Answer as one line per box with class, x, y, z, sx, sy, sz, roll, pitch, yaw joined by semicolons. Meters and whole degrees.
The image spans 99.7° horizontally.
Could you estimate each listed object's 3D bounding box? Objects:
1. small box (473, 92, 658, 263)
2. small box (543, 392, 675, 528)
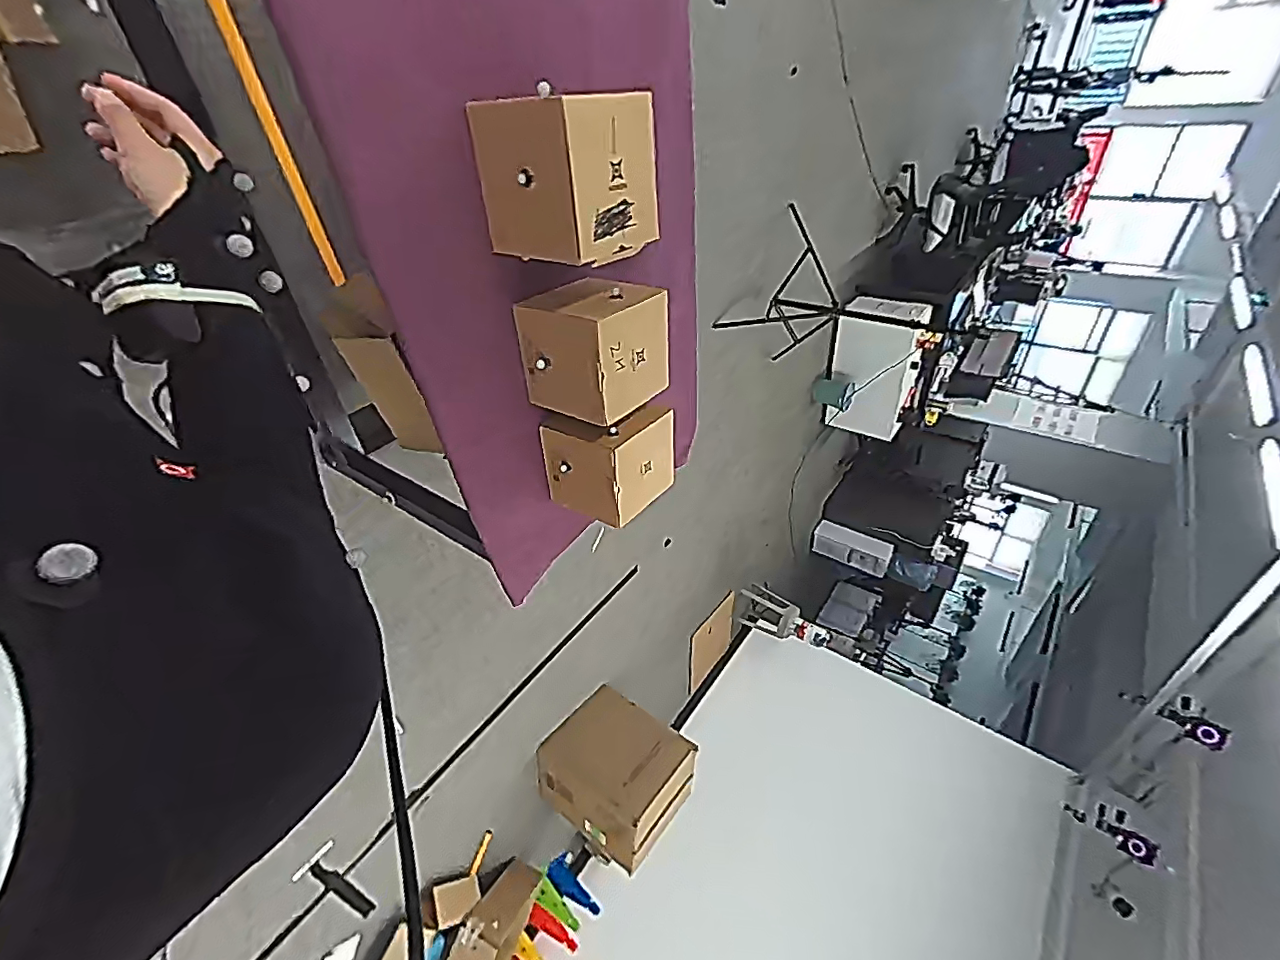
small box;-0.092;-0.402;0.715;0.168;0.176;0.179;-38;136;-39
small box;-0.053;-0.046;0.994;0.179;0.176;0.168;-38;138;-40
